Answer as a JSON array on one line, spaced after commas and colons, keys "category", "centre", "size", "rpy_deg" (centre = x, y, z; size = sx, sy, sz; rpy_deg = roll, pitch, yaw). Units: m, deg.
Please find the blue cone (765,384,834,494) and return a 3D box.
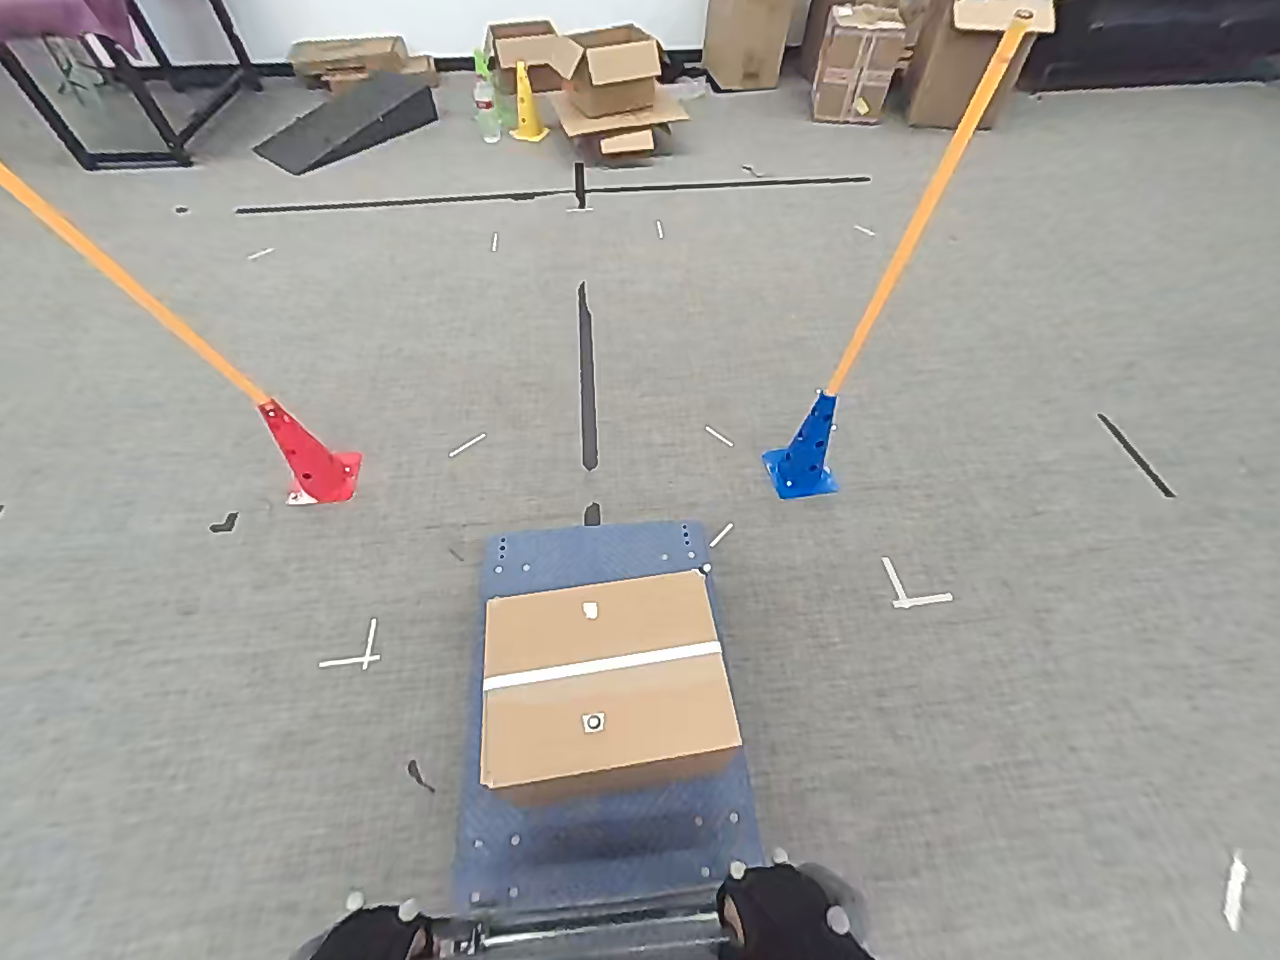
[{"category": "blue cone", "centre": [0.525, -0.134, 1.647], "size": [0.193, 0.380, 0.192], "rpy_deg": [-7, 53, -6]}]
